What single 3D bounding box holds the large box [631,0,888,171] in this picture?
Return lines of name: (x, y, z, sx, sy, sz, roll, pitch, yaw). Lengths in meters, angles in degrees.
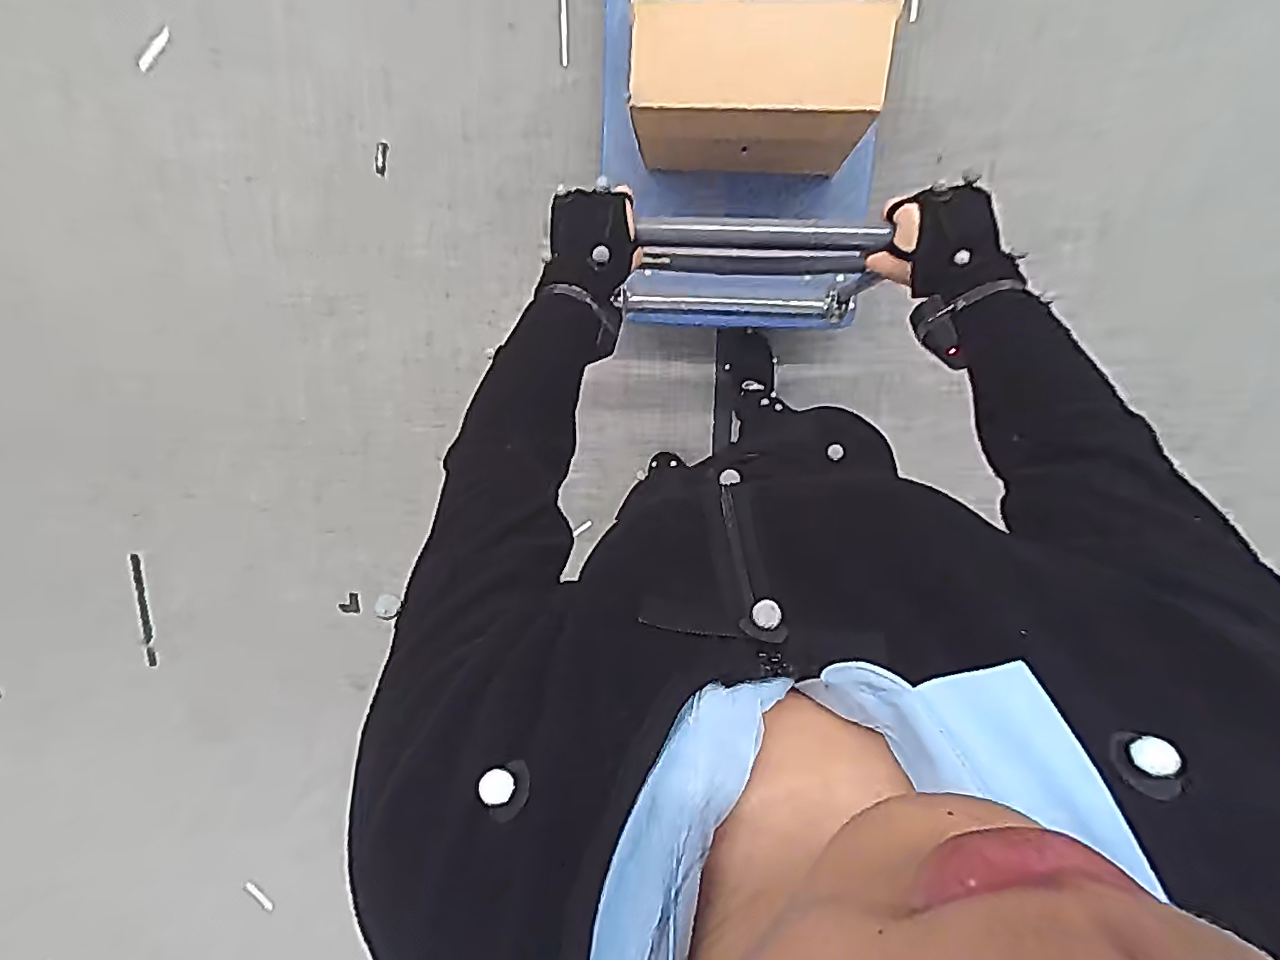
large box: (0.207, -0.787, 0.998, 0.408, 0.320, 0.320, 4, 102, 6)
